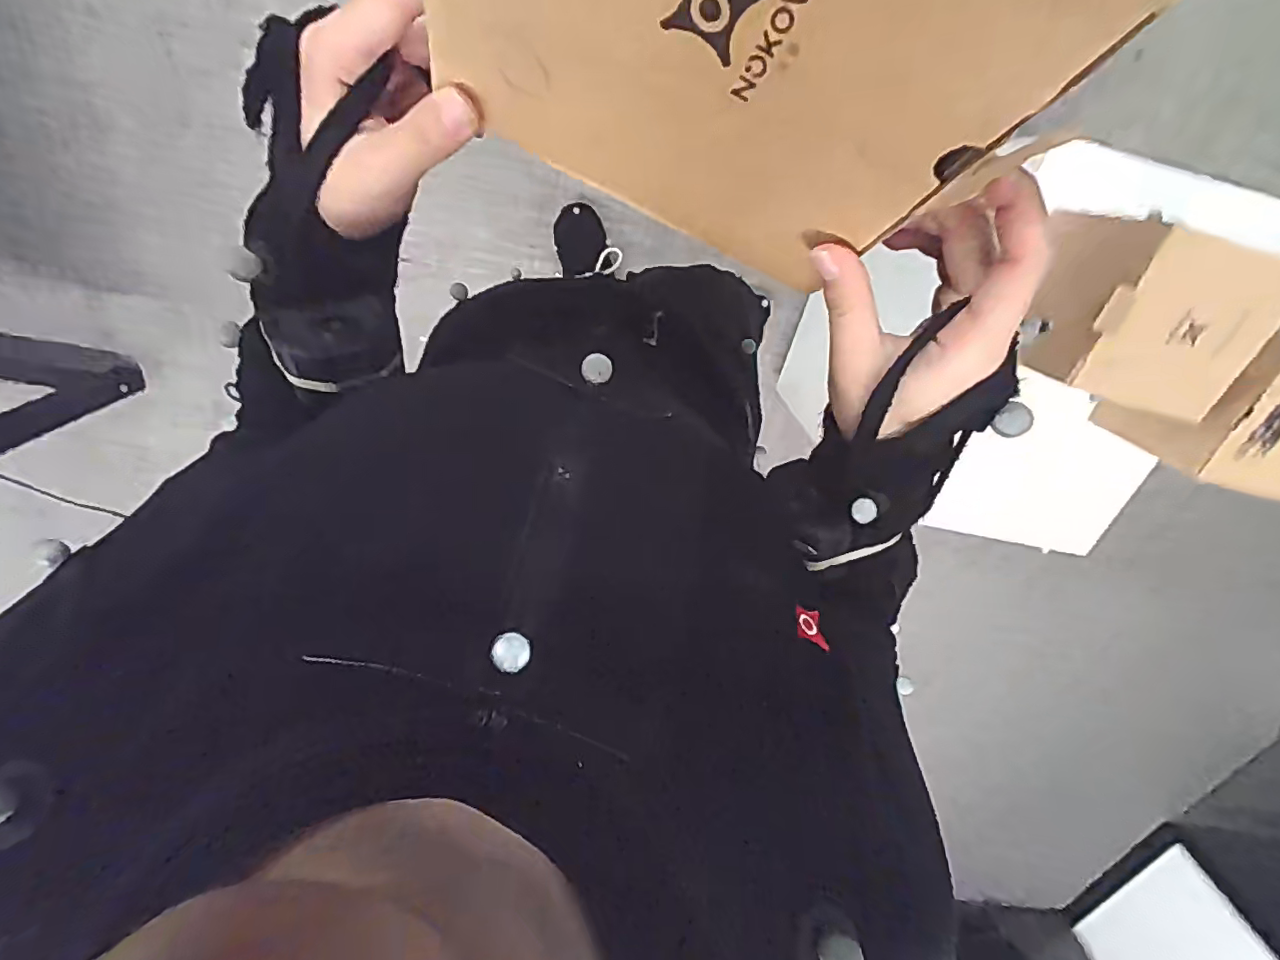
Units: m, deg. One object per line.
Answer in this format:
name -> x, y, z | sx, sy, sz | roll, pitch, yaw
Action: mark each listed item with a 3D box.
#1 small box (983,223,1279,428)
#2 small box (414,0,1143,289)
small box -> 0.542, -0.181, 0.612 | 0.179, 0.176, 0.168 | 11, 119, -10
small box -> 0.044, -0.203, 0.168 | 0.179, 0.168, 0.176 | 20, 74, -12
